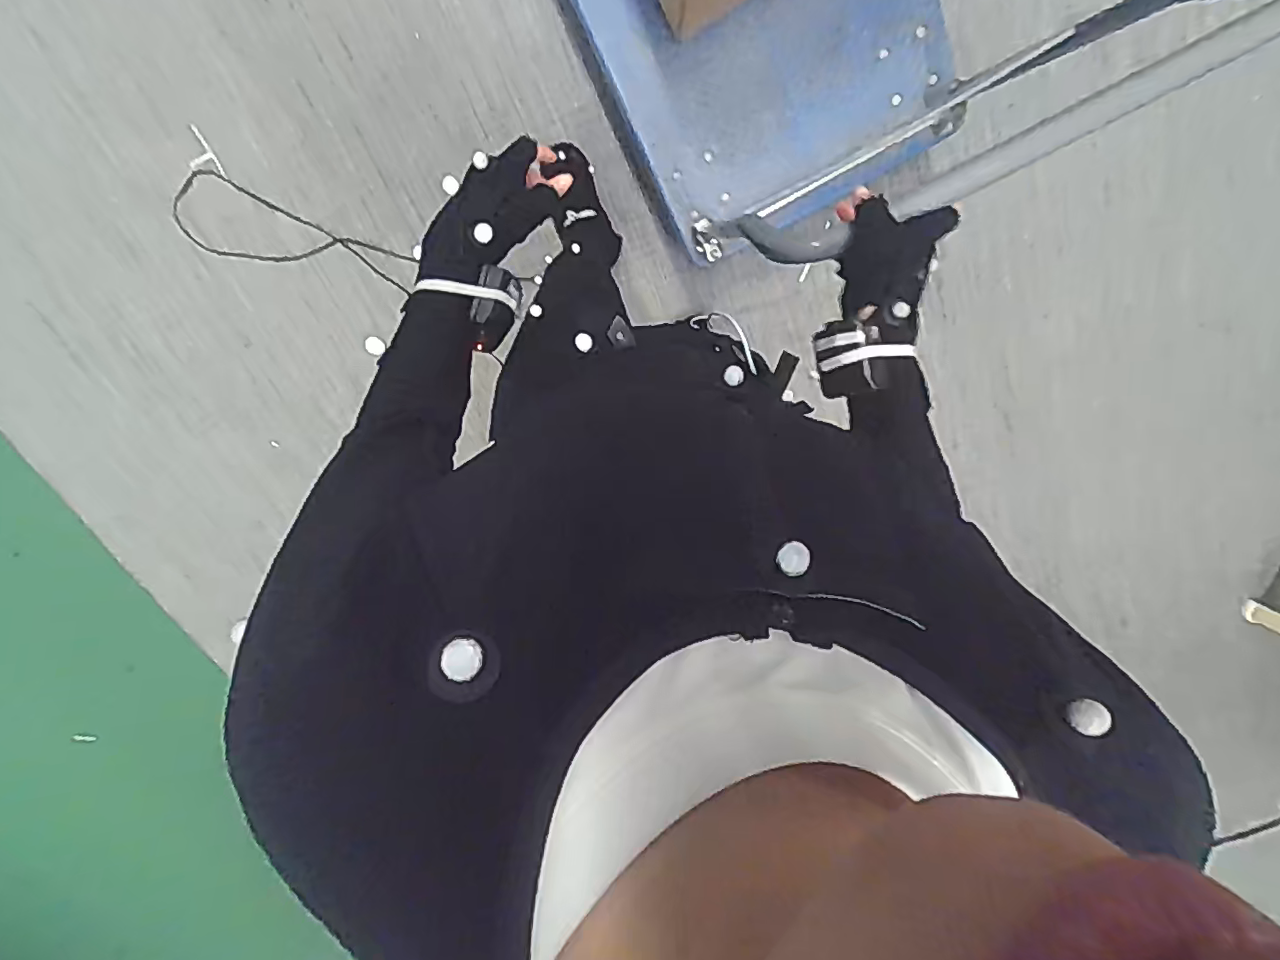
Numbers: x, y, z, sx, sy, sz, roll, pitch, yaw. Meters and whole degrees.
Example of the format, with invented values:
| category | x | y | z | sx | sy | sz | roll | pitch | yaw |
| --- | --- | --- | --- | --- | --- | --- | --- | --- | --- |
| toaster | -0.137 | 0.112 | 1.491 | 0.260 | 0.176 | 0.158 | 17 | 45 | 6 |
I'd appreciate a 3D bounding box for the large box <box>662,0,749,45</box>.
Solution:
| category | x | y | z | sx | sy | sz | roll | pitch | yaw |
| --- | --- | --- | --- | --- | --- | --- | --- | --- | --- |
| large box | 0.171 | -0.942 | 0.764 | 0.408 | 0.320 | 0.320 | -27 | 110 | 13 |
